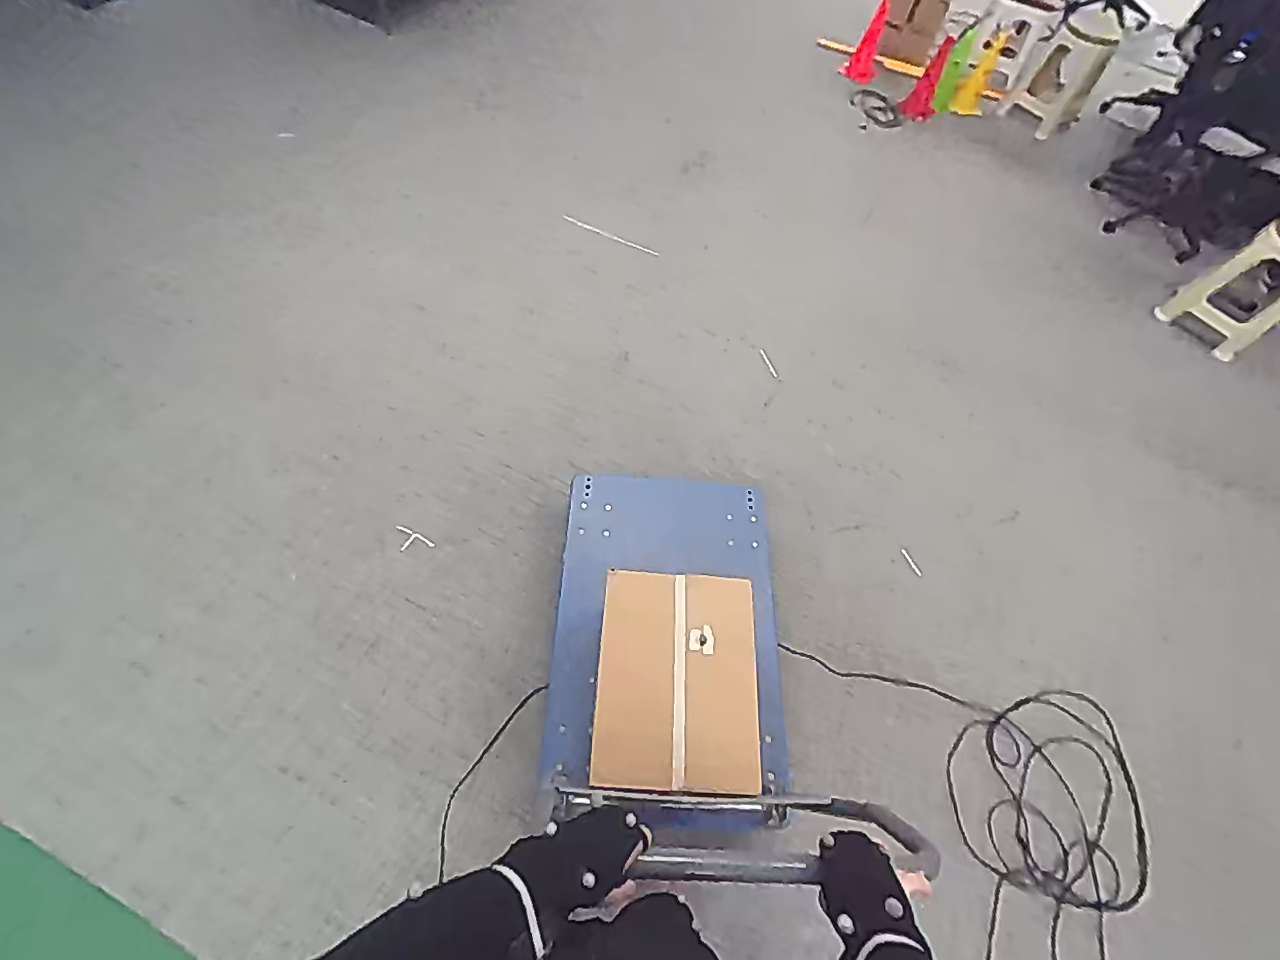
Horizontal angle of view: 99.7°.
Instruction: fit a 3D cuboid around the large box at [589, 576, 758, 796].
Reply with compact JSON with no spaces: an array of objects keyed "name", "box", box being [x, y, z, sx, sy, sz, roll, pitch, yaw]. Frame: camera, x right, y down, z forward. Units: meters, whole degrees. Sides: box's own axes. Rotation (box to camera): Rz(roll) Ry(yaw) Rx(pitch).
[{"name":"large box","box":[0.059,0.465,1.199,0.320,0.320,0.408,5,59,-3]}]
